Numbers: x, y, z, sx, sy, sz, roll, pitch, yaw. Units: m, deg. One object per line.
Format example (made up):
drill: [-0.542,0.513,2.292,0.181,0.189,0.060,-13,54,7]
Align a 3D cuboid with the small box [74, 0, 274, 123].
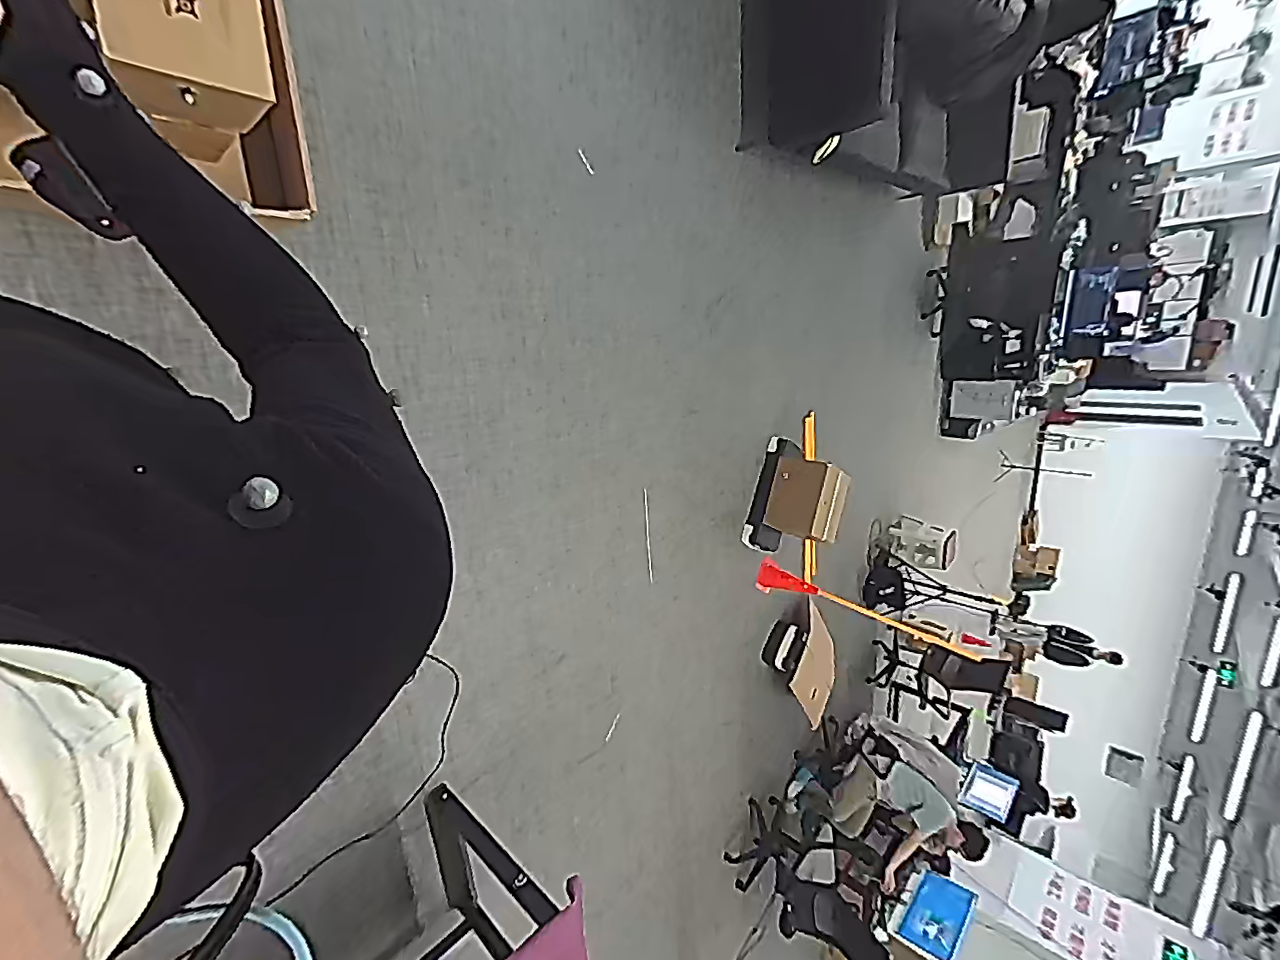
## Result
small box: [-0.613,-0.597,0.707,0.179,0.176,0.168,-15,111,-46]
